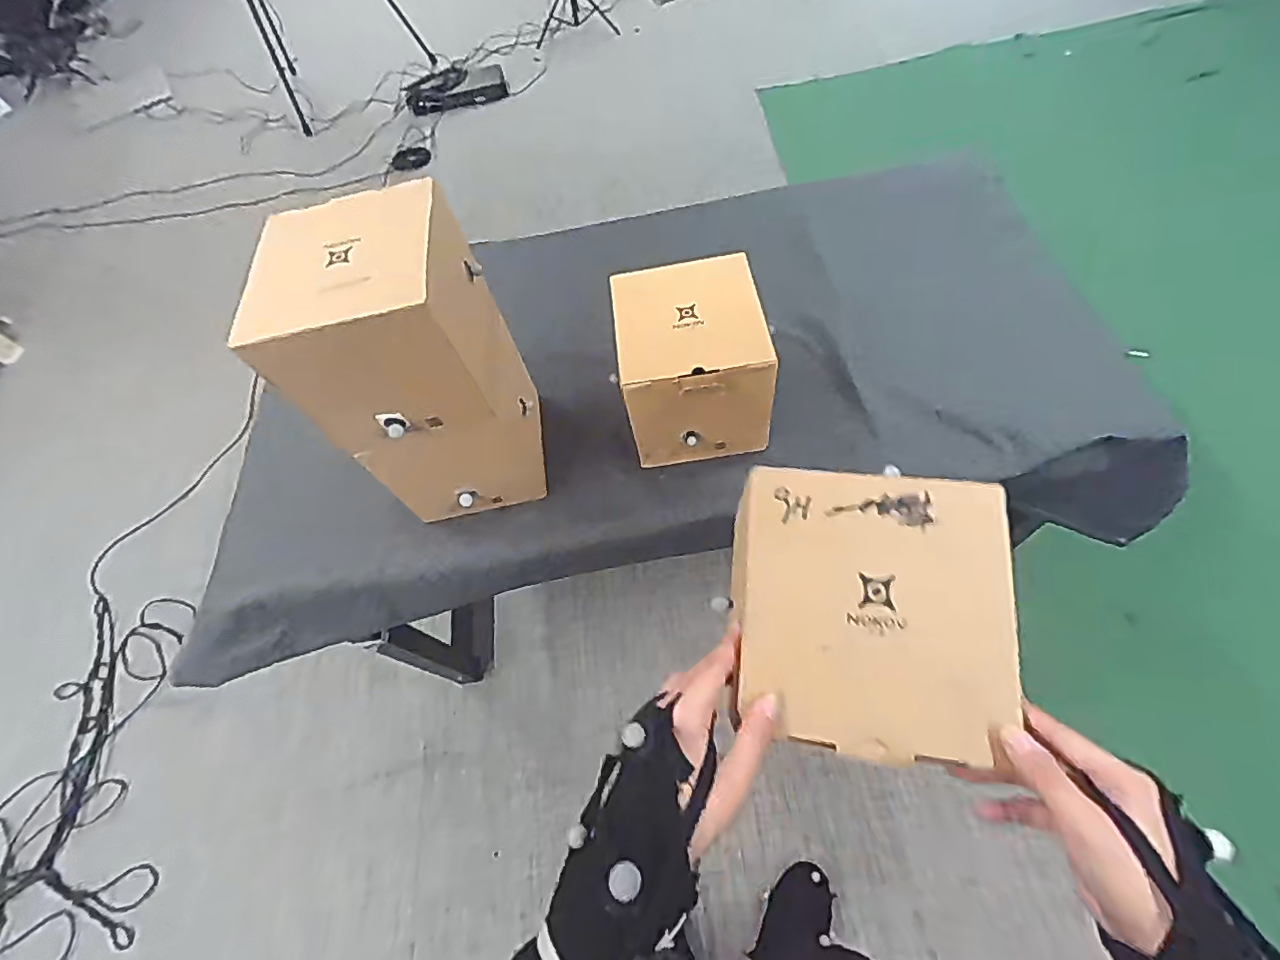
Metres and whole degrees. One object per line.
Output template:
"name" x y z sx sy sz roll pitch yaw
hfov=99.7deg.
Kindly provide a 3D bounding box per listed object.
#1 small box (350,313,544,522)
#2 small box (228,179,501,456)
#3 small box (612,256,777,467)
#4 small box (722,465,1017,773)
"small box" -0.224 -0.071 0.668 0.168 0.176 0.179 -12 60 2
"small box" -0.244 -0.150 0.529 0.168 0.176 0.179 -13 60 2
"small box" 0.062 -0.140 0.668 0.168 0.176 0.179 -9 60 3
"small box" 0.152 0.099 0.415 0.168 0.176 0.179 4 75 7
